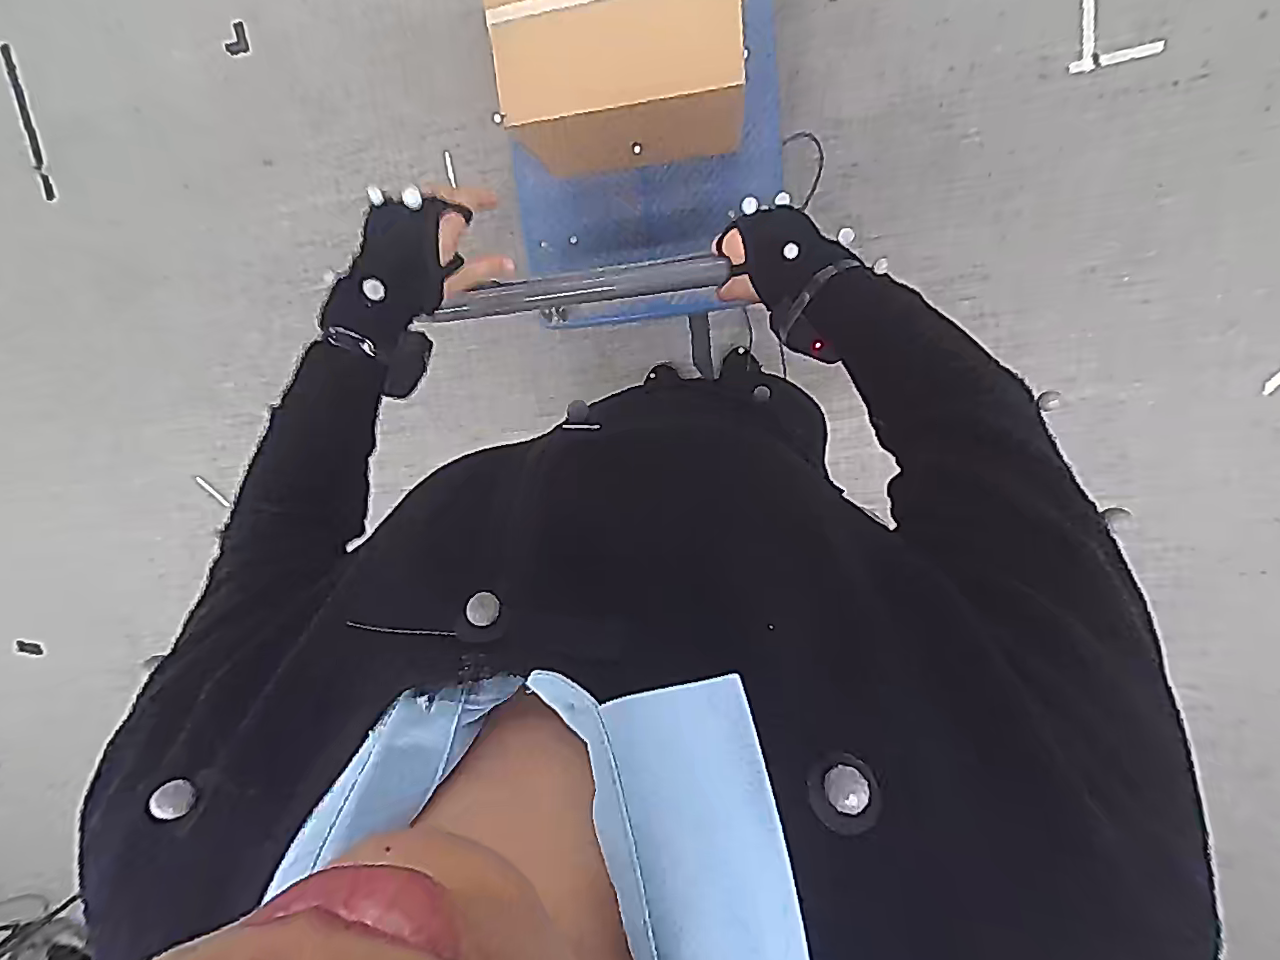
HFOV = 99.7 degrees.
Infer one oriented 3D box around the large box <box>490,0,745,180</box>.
[{"bbox_3d":[-0.021,-0.793,1.001,0.408,0.320,0.320,-4,102,11],"label":"large box"}]
